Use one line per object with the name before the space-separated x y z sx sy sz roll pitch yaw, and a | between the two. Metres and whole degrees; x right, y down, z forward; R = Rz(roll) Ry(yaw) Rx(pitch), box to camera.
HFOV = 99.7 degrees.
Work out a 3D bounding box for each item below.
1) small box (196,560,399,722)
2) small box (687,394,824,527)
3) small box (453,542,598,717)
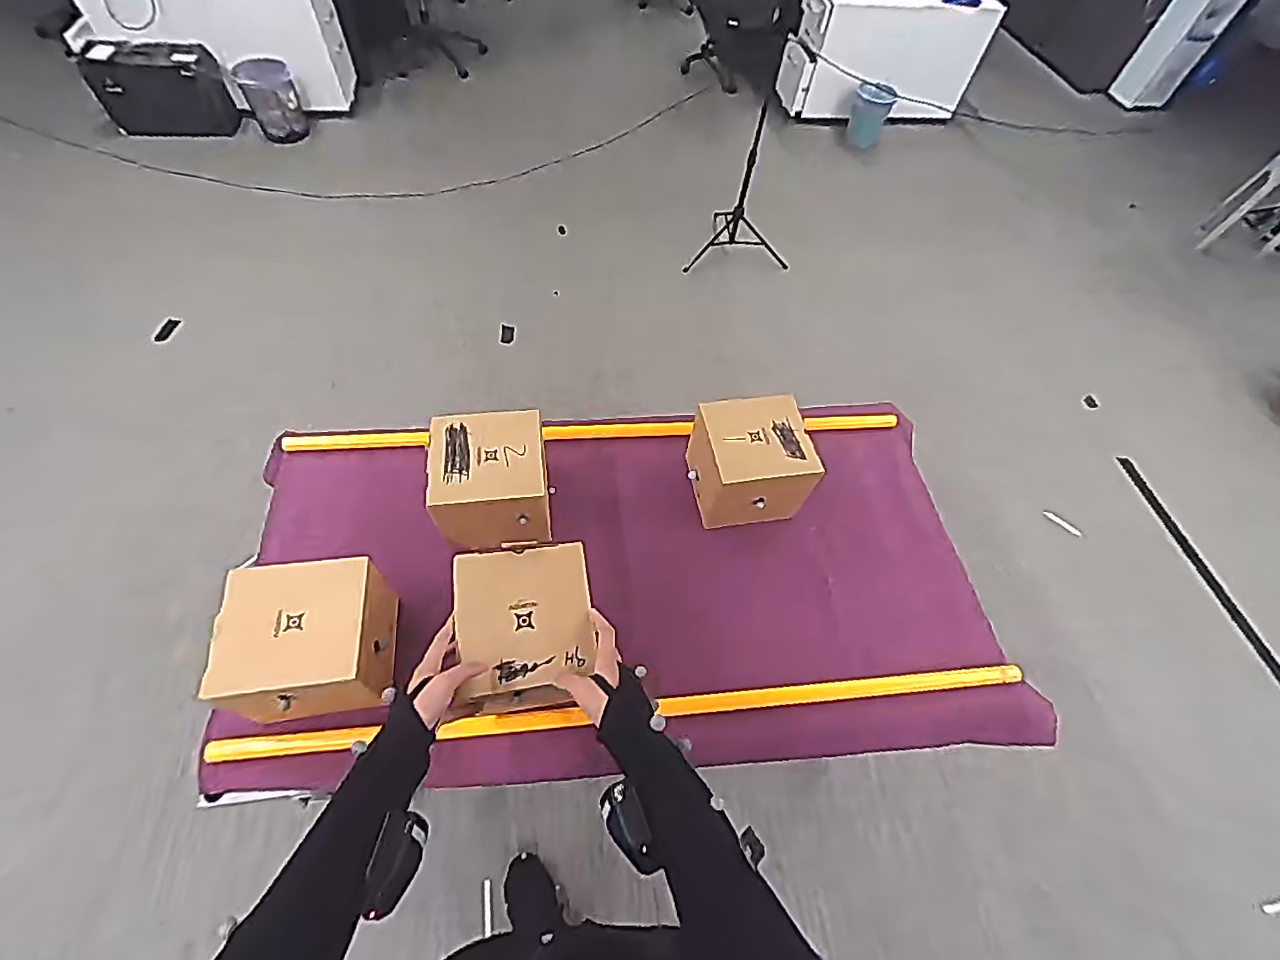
small box | -0.448 0.225 0.746 0.179 0.176 0.168 -5 58 -9
small box | 0.193 -0.031 0.961 0.179 0.176 0.168 -7 60 -8
small box | -0.153 0.202 0.724 0.168 0.176 0.179 -5 60 -12
